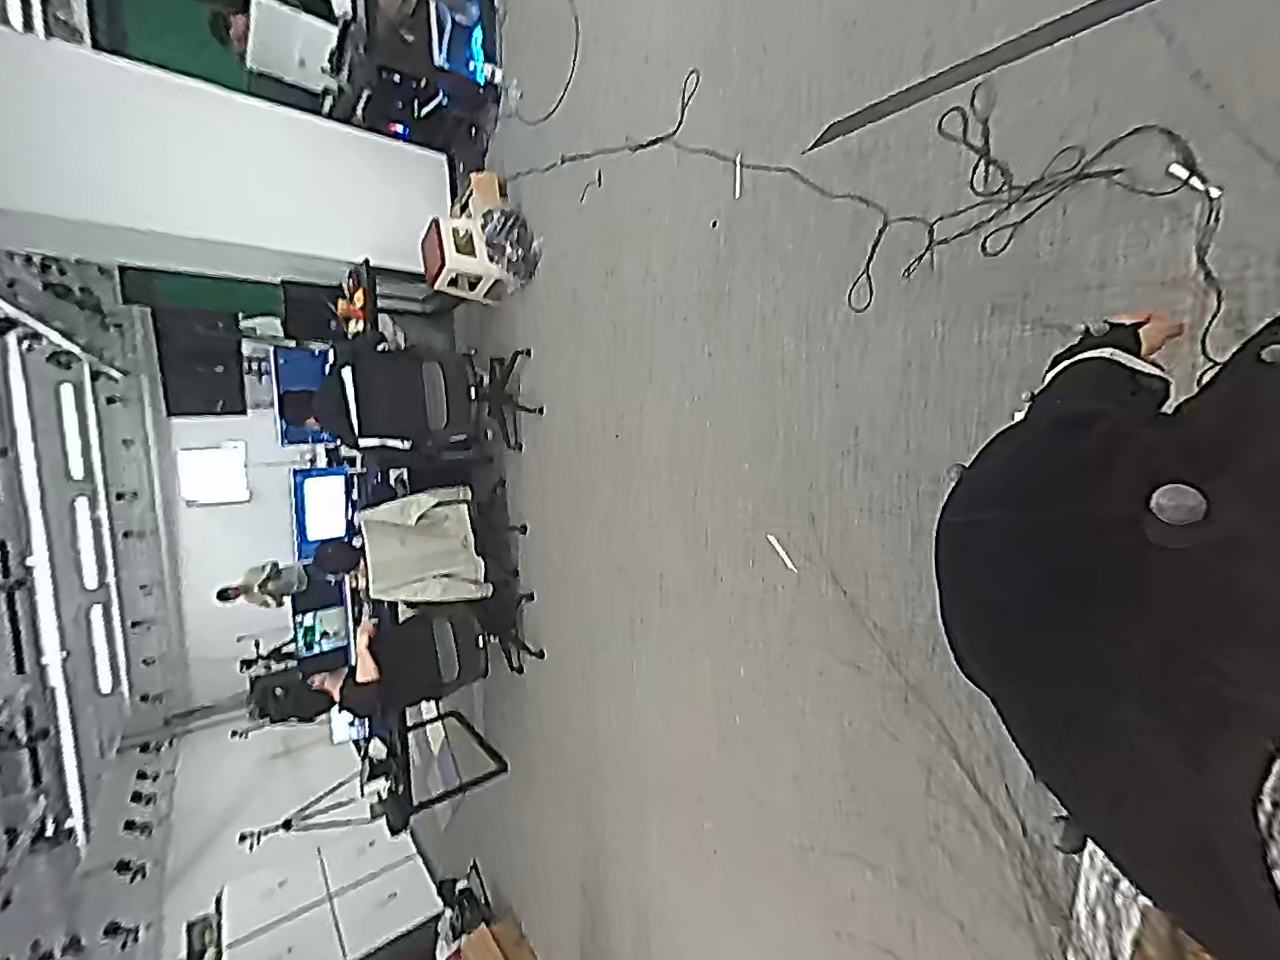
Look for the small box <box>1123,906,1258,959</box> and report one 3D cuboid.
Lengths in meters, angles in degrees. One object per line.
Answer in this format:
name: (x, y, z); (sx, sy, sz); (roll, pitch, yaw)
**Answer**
small box: (0.665, 0.664, 0.626); (0.168, 0.176, 0.179); (10, 101, 50)
